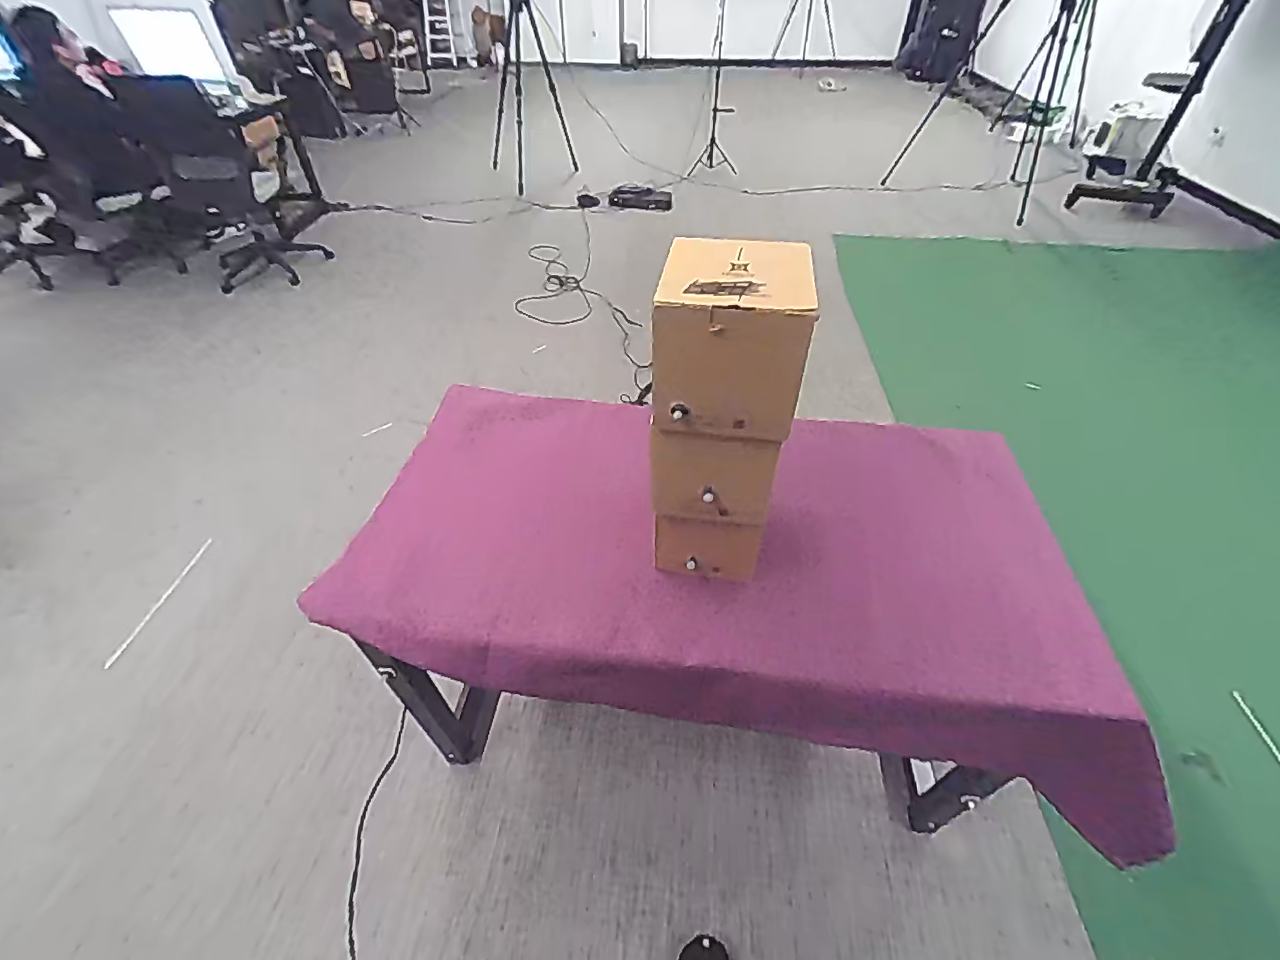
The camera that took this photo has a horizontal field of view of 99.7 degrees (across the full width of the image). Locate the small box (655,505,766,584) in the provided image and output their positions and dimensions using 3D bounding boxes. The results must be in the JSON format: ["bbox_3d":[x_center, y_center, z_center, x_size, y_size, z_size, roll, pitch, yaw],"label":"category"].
[{"bbox_3d":[0.119,0.046,0.908,0.168,0.176,0.179,7,46,9],"label":"small box"}]

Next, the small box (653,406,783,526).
[{"bbox_3d":[0.110,-0.060,0.782,0.168,0.176,0.179,6,45,8],"label":"small box"}]

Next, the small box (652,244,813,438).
[{"bbox_3d":[0.111,-0.170,0.660,0.168,0.176,0.179,6,44,8],"label":"small box"}]
